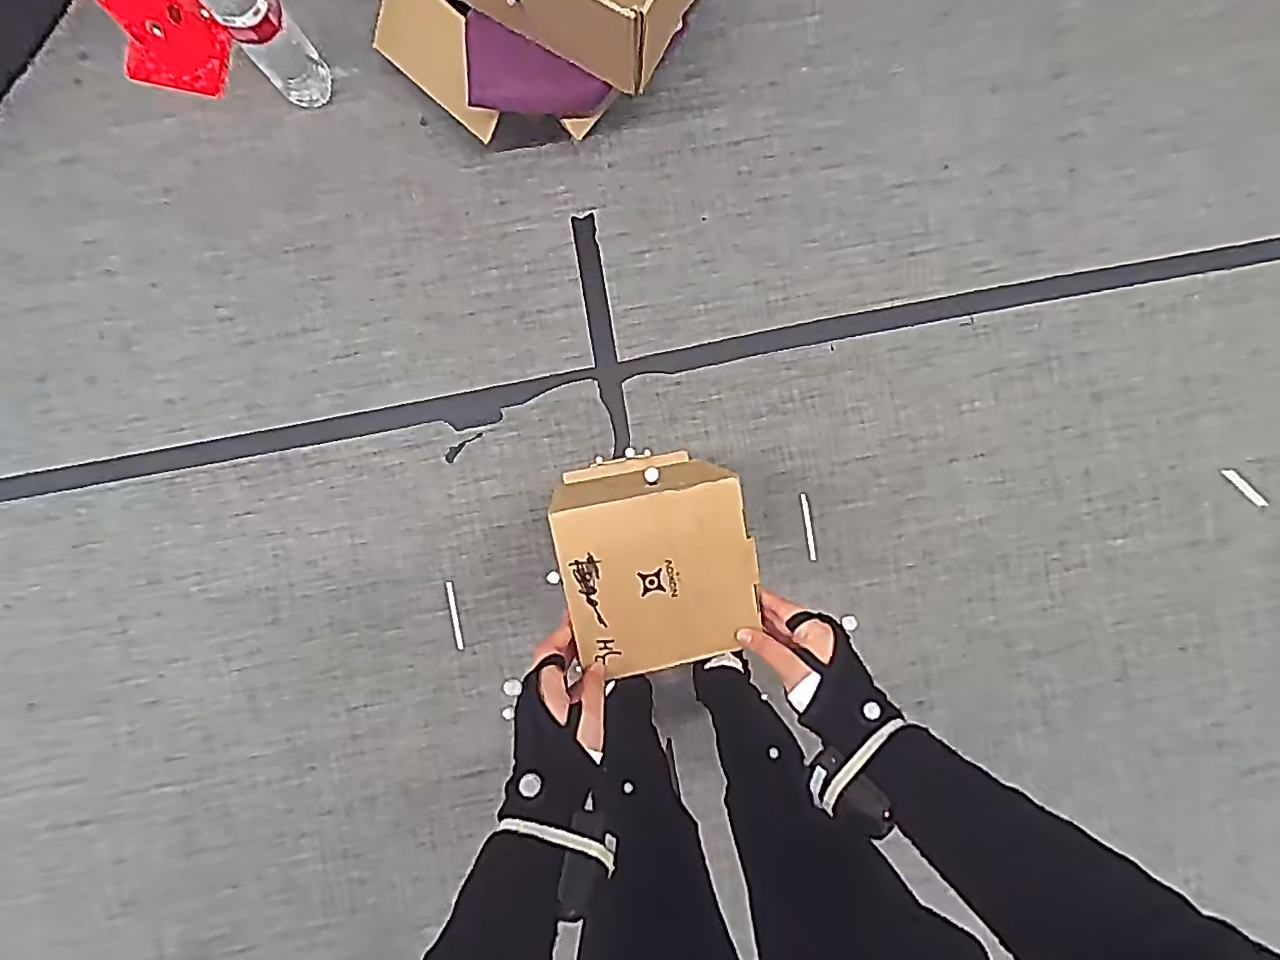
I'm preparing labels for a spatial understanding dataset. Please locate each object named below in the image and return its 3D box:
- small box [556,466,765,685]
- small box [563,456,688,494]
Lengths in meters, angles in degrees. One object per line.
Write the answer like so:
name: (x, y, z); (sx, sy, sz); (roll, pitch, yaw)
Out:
small box: (0.012, 0.084, 0.571); (0.179, 0.176, 0.168); (-11, 98, -6)
small box: (-0.008, 0.064, 0.778); (0.168, 0.176, 0.179); (-10, 91, -3)
